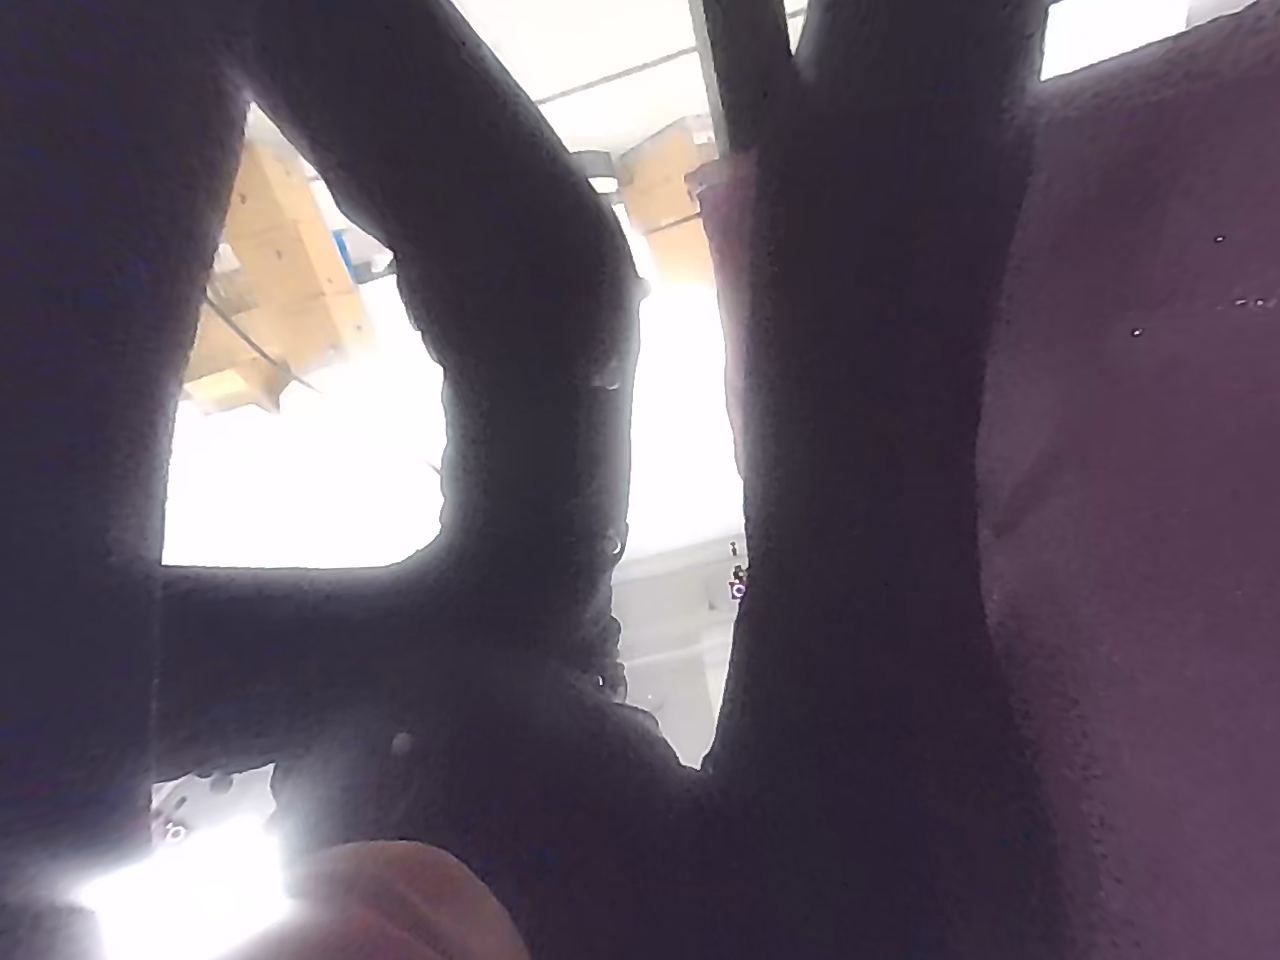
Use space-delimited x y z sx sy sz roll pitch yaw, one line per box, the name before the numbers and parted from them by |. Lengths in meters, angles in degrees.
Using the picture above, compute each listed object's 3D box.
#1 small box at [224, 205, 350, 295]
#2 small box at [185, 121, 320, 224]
small box | -0.864 -0.568 1.337 0.168 0.176 0.179 -14 -159 2
small box | -0.908 -0.707 1.266 0.179 0.176 0.168 -14 -158 7
